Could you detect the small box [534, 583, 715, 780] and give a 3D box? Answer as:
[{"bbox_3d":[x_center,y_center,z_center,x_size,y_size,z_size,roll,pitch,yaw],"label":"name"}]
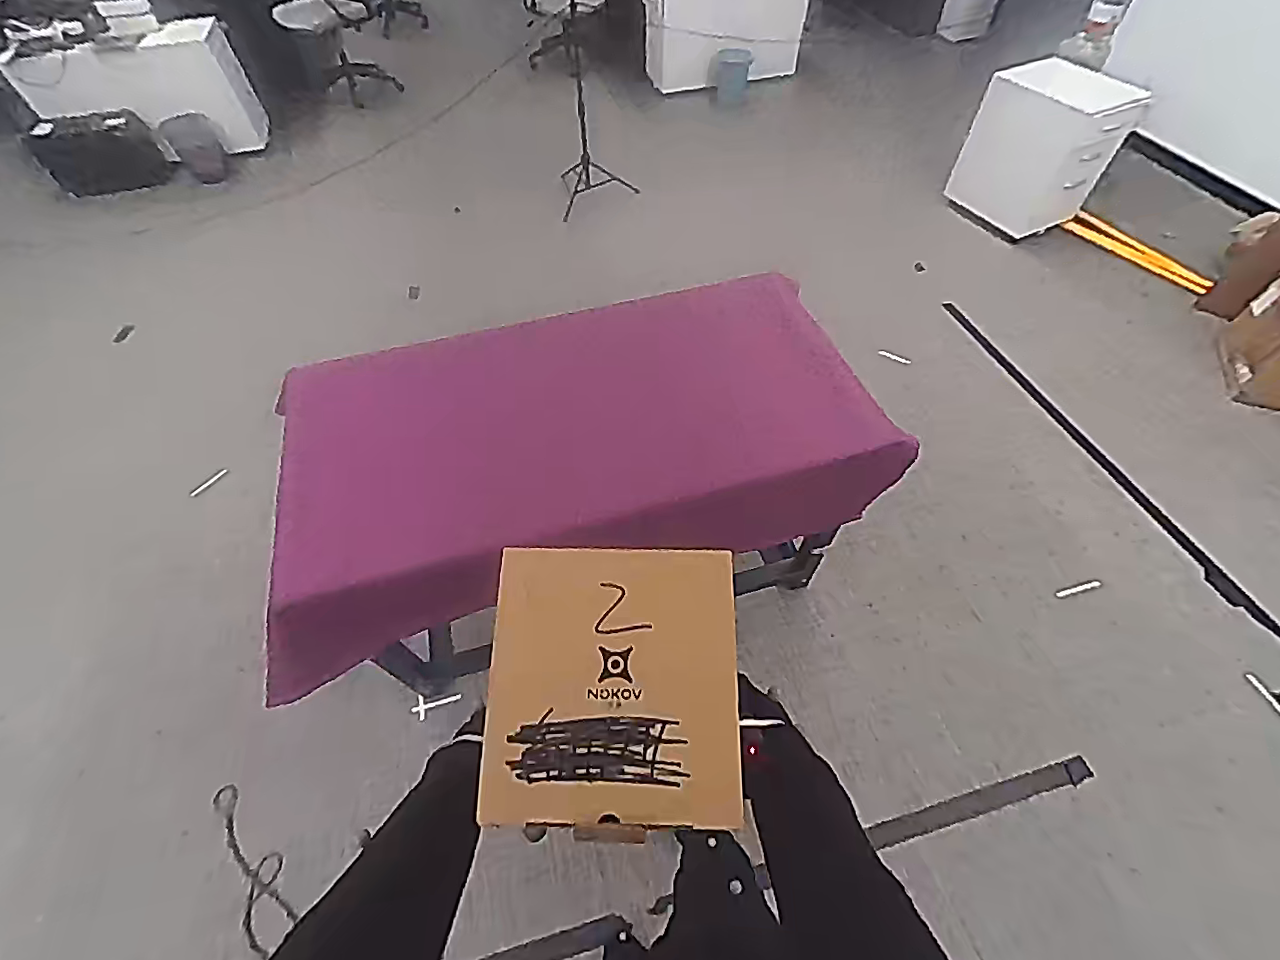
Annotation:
[{"bbox_3d":[-0.014,0.214,0.586,0.168,0.176,0.179,-1,70,0],"label":"small box"}]
